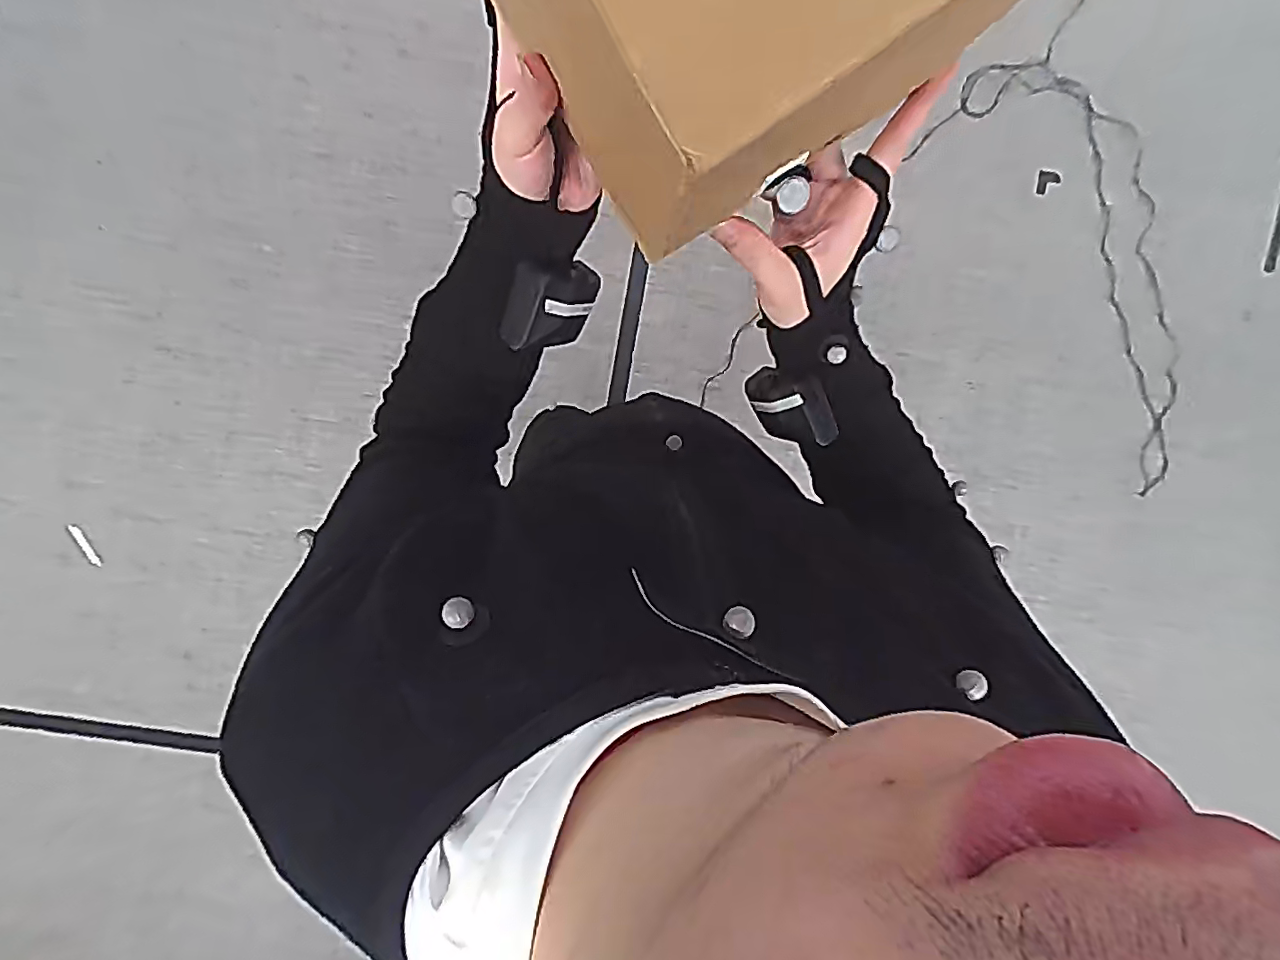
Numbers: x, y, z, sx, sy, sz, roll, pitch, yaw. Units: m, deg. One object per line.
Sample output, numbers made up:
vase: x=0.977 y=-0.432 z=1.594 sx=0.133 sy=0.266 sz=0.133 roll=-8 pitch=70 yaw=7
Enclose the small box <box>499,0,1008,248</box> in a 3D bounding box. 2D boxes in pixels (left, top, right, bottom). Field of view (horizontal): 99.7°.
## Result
small box: x=0.033 y=-0.217 z=0.201 sx=0.168 sy=0.176 sz=0.179 roll=-33 pitch=103 yaw=6
